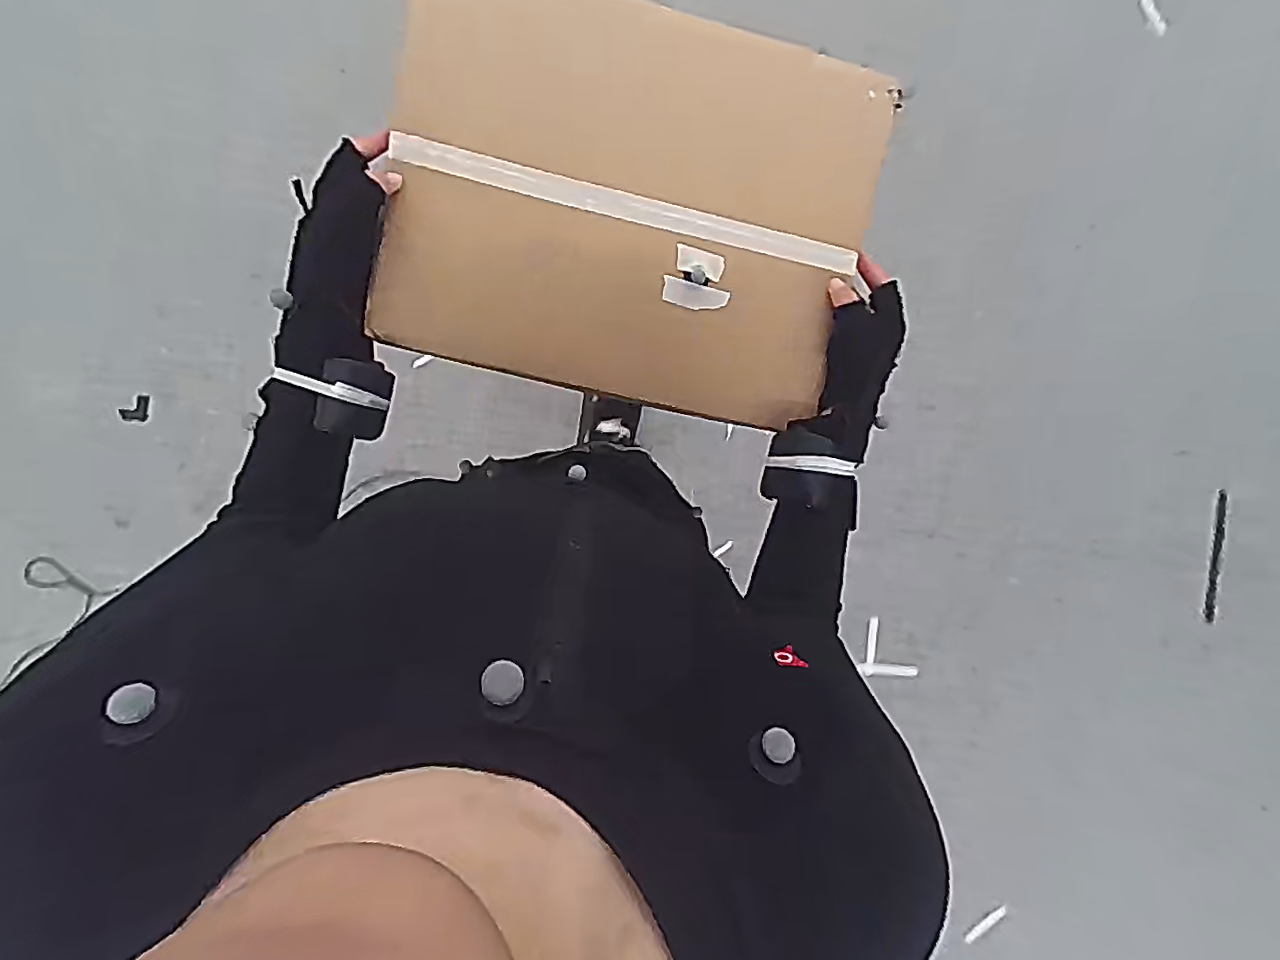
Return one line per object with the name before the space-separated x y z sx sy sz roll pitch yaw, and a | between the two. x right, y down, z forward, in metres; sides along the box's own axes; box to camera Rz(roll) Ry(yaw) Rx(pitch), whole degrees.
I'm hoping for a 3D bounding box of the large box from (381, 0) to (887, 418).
large box | -0.019 -0.263 0.617 0.408 0.320 0.320 11 99 -7
